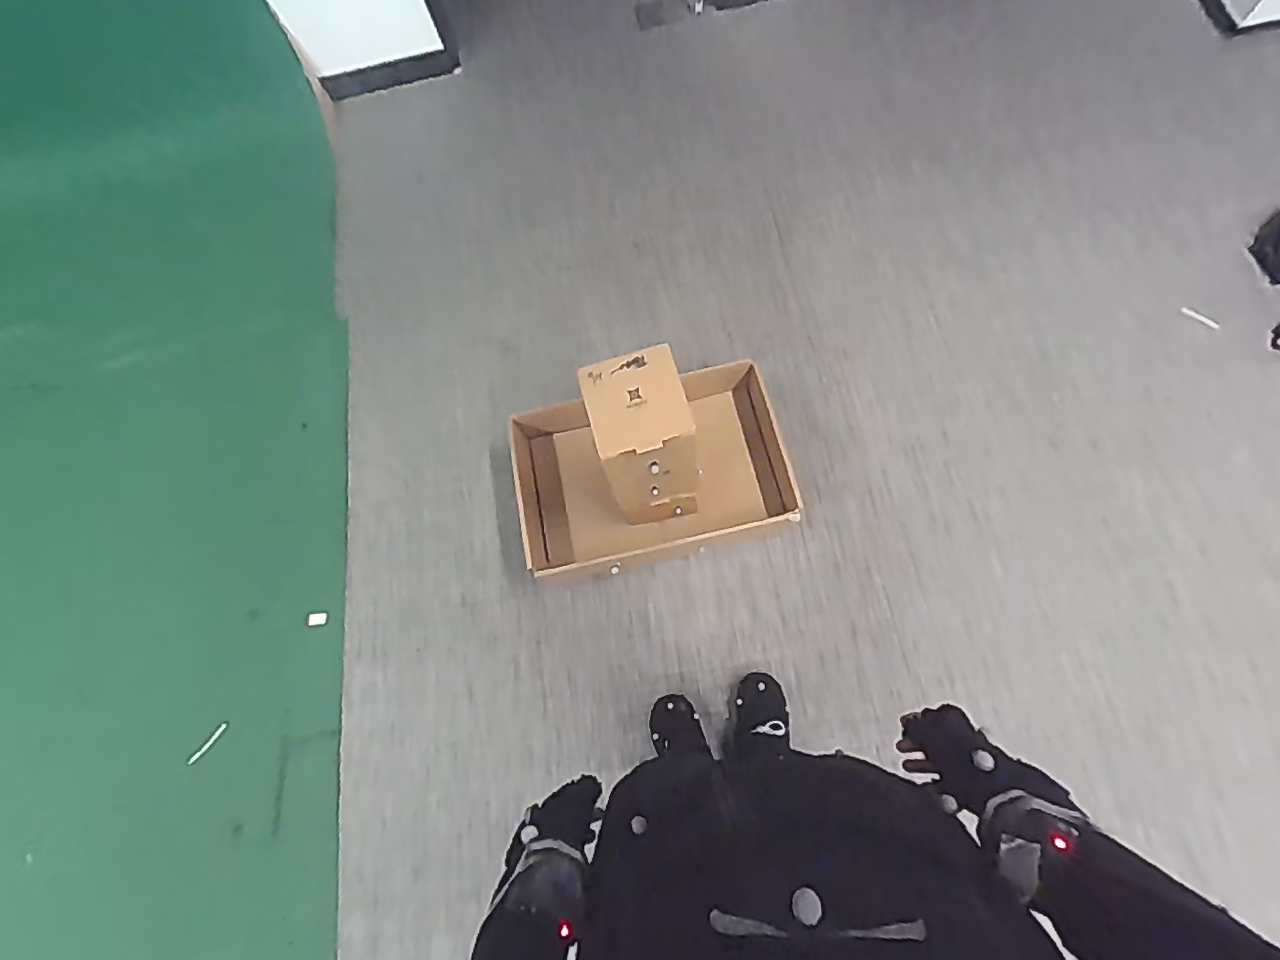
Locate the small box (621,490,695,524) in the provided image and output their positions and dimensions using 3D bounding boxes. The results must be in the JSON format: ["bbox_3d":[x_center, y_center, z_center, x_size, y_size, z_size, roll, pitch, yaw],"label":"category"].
[{"bbox_3d":[0.035,-0.002,1.286,0.168,0.176,0.179,-12,70,2],"label":"small box"}]

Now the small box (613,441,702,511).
[{"bbox_3d":[0.021,-0.049,1.130,0.179,0.176,0.168,-16,72,-1],"label":"small box"}]

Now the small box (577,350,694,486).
[{"bbox_3d":[-0.001,-0.100,0.976,0.168,0.176,0.179,-16,72,1],"label":"small box"}]
